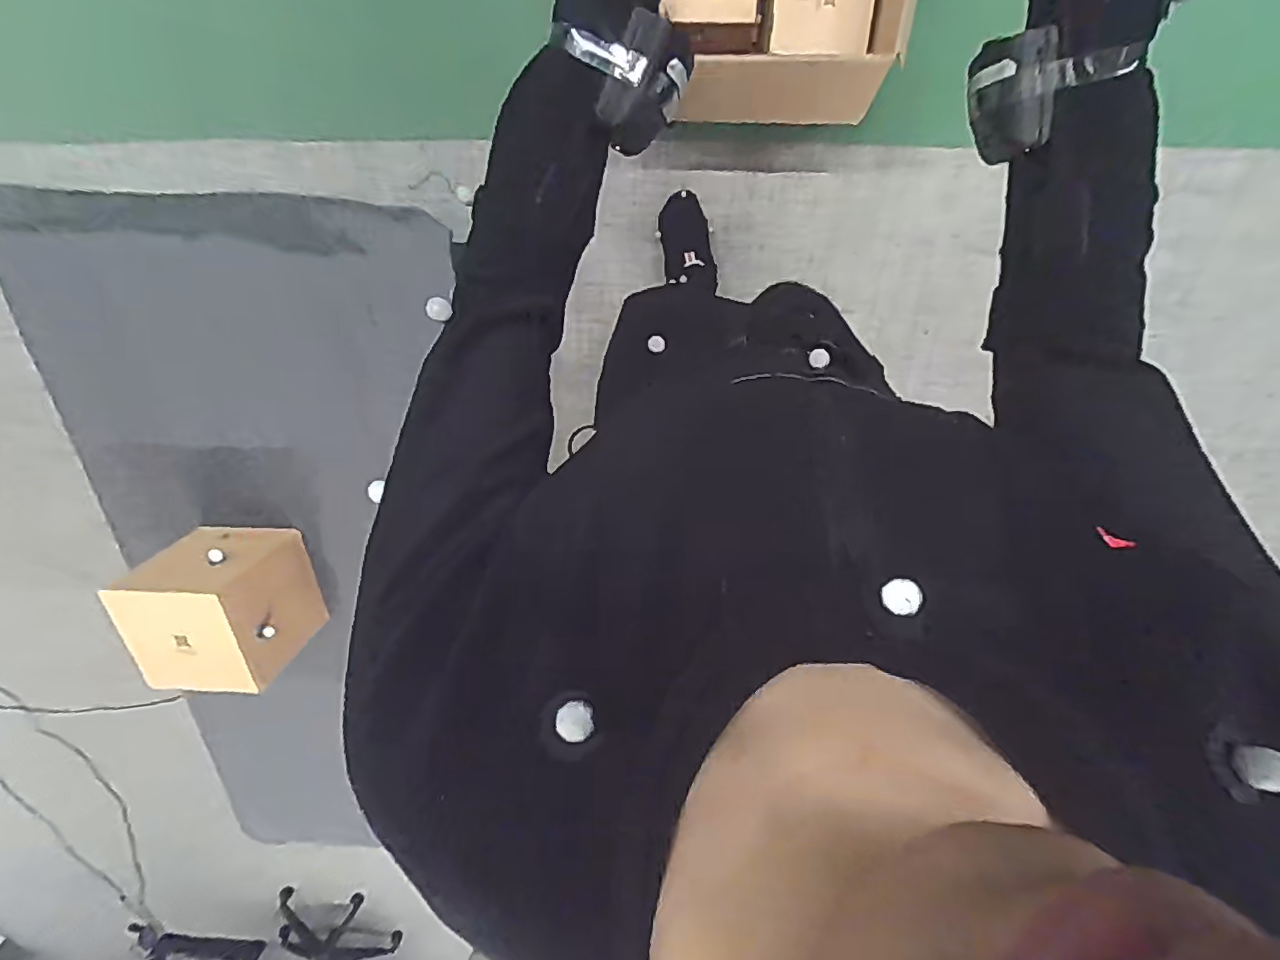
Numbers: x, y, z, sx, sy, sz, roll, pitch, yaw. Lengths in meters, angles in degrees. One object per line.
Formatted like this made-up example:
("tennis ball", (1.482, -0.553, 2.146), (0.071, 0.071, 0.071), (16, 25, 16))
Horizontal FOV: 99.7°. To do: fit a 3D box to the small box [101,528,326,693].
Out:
("small box", (-0.603, 0.184, 0.794), (0.168, 0.176, 0.179), (1, 116, 4))
